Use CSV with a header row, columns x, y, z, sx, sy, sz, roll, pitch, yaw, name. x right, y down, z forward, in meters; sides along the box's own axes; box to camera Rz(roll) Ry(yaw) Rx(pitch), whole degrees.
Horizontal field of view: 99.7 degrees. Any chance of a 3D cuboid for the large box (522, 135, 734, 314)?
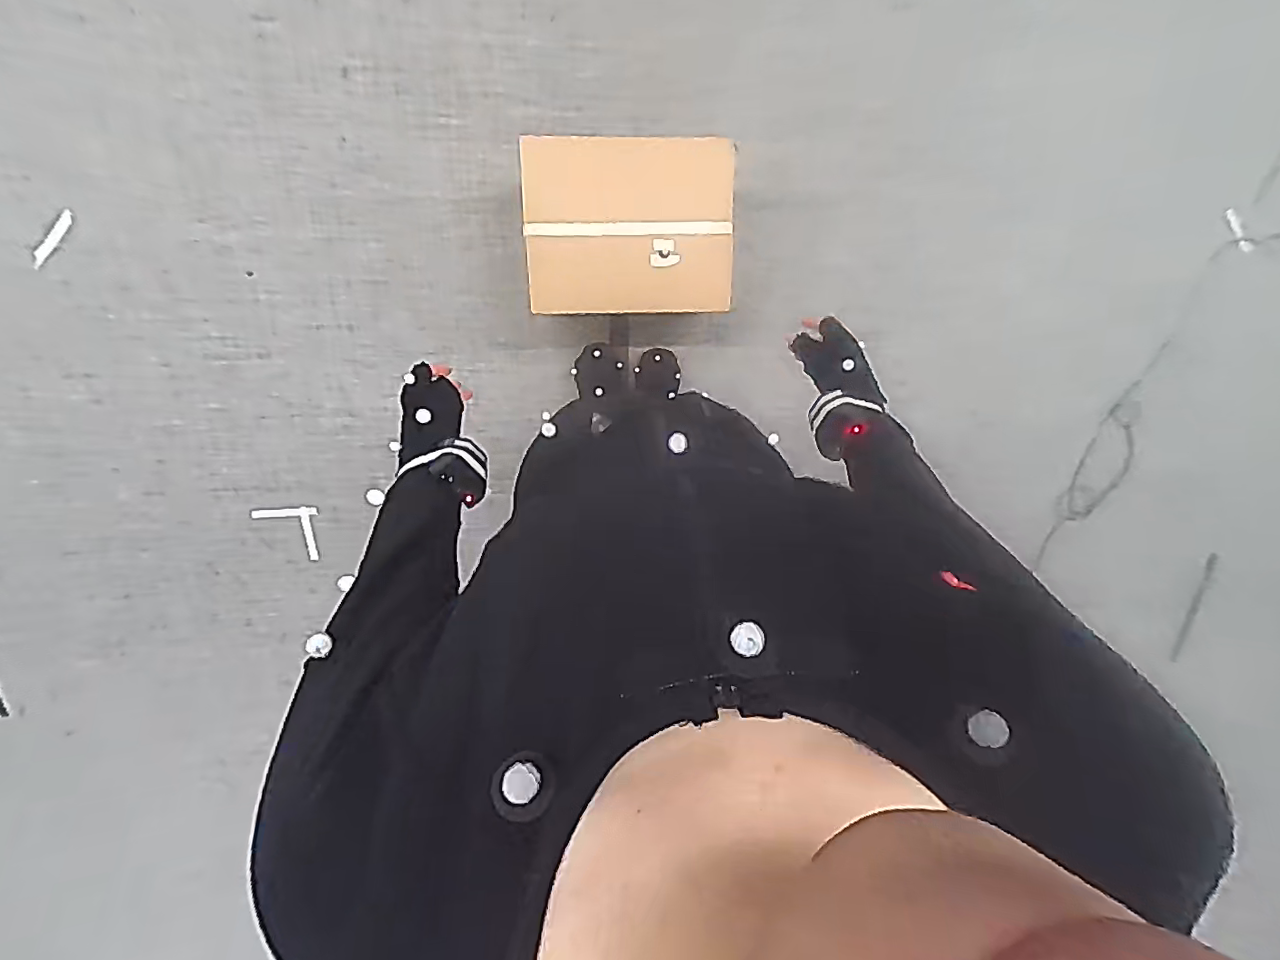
x,y,z,sx,sy,sz,roll,pitch,yaw,name
-0.029,-0.534,1.188,0.408,0.320,0.320,-3,108,-4,large box
